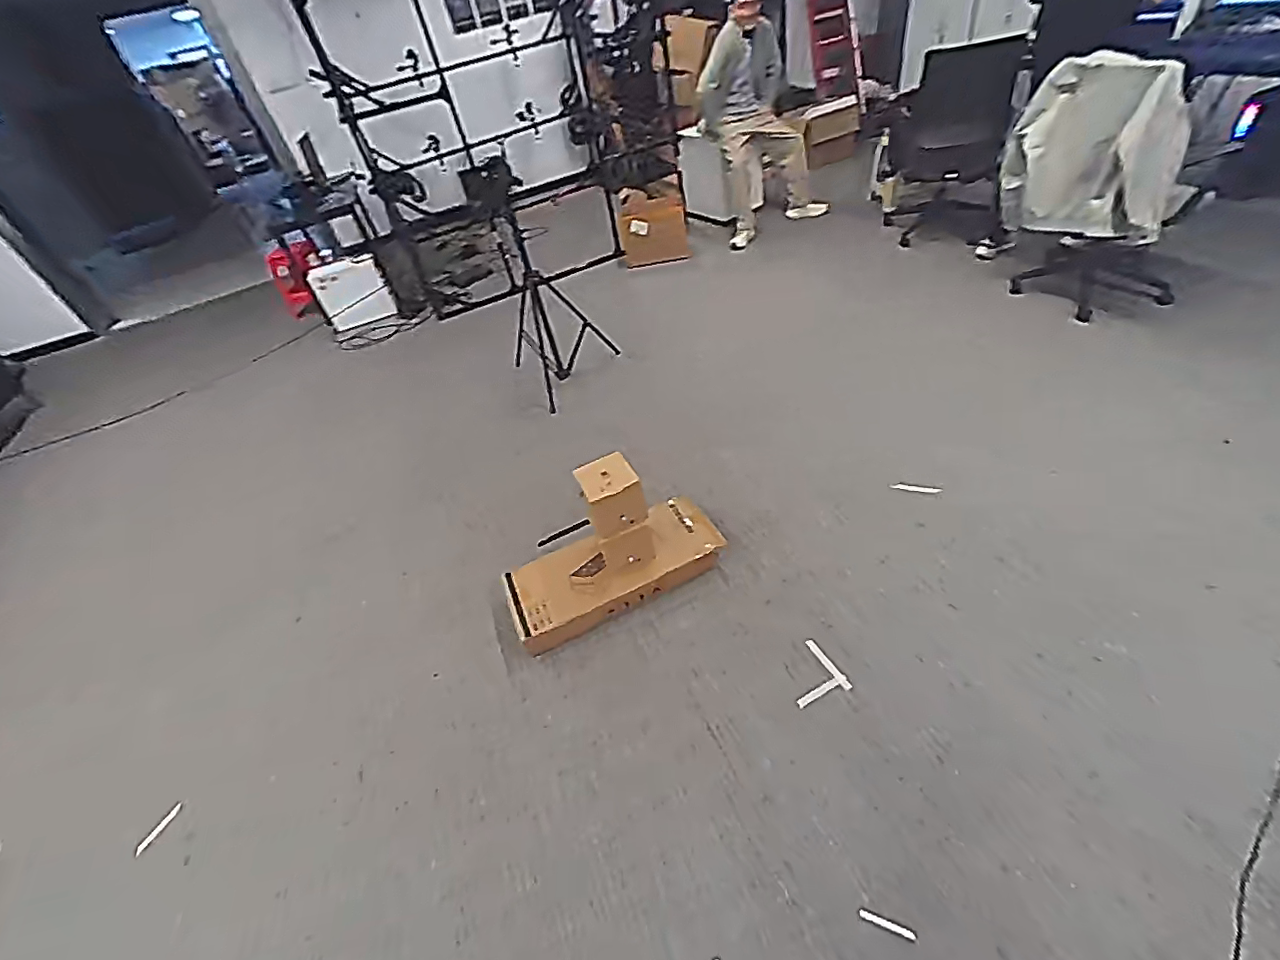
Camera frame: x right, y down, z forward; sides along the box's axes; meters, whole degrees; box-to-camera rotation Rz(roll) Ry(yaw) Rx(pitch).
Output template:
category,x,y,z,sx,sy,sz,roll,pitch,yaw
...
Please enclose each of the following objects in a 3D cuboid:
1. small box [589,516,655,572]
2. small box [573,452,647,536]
category,x,y,z,sx,sy,sz,roll,pitch,yaw
small box,-0.064,0.177,1.819,0.168,0.176,0.179,-22,43,-8
small box,-0.095,0.046,1.720,0.168,0.176,0.179,-25,43,-11
